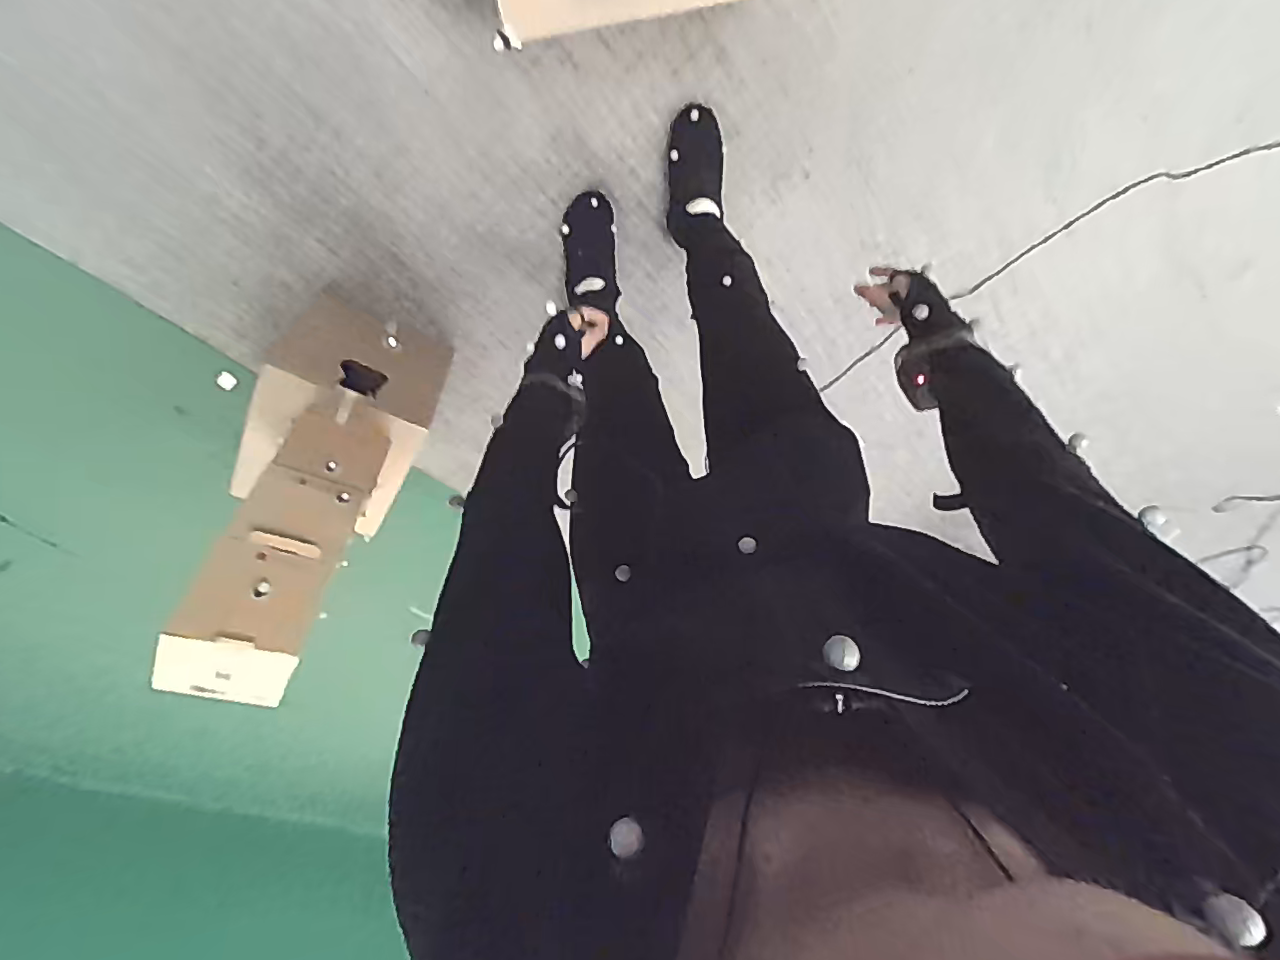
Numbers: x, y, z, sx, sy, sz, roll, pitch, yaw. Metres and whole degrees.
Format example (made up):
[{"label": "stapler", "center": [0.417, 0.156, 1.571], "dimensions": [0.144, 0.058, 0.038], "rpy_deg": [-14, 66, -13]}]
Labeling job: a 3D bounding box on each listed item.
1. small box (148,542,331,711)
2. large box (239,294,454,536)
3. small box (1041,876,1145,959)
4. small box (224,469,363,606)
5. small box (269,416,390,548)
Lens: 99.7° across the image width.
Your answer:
[{"label": "small box", "center": [-0.600, 0.223, 0.828], "dimensions": [0.168, 0.176, 0.179], "rpy_deg": [24, 125, -25]}, {"label": "large box", "center": [-0.672, -0.142, 1.265], "dimensions": [0.320, 0.320, 0.408], "rpy_deg": [25, 127, -24]}, {"label": "small box", "center": [1.334, 1.297, 1.601], "dimensions": [0.168, 0.176, 0.179], "rpy_deg": [-33, 126, 22]}, {"label": "small box", "center": [-0.609, 0.110, 0.948], "dimensions": [0.168, 0.176, 0.179], "rpy_deg": [23, 127, -25]}, {"label": "small box", "center": [-0.620, 0.003, 1.070], "dimensions": [0.179, 0.176, 0.168], "rpy_deg": [25, 126, -25]}]
